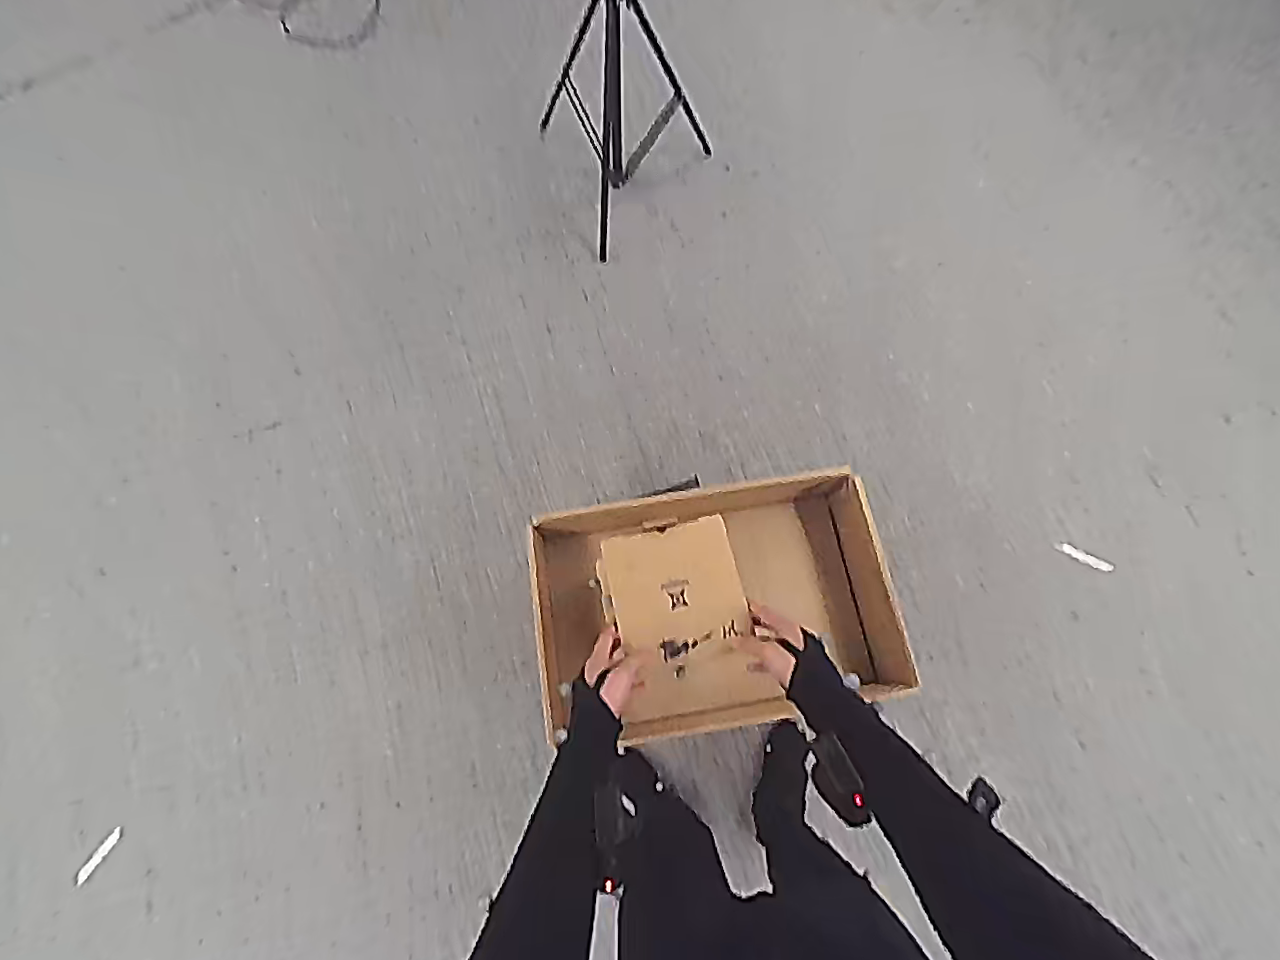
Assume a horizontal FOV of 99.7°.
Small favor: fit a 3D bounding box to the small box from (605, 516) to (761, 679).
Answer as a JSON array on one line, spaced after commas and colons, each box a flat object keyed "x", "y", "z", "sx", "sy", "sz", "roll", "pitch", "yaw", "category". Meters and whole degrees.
[{"x": 0.048, "y": 0.169, "z": 0.747, "sx": 0.168, "sy": 0.176, "sz": 0.179, "roll": -12, "pitch": 71, "yaw": -4, "category": "small box"}]
